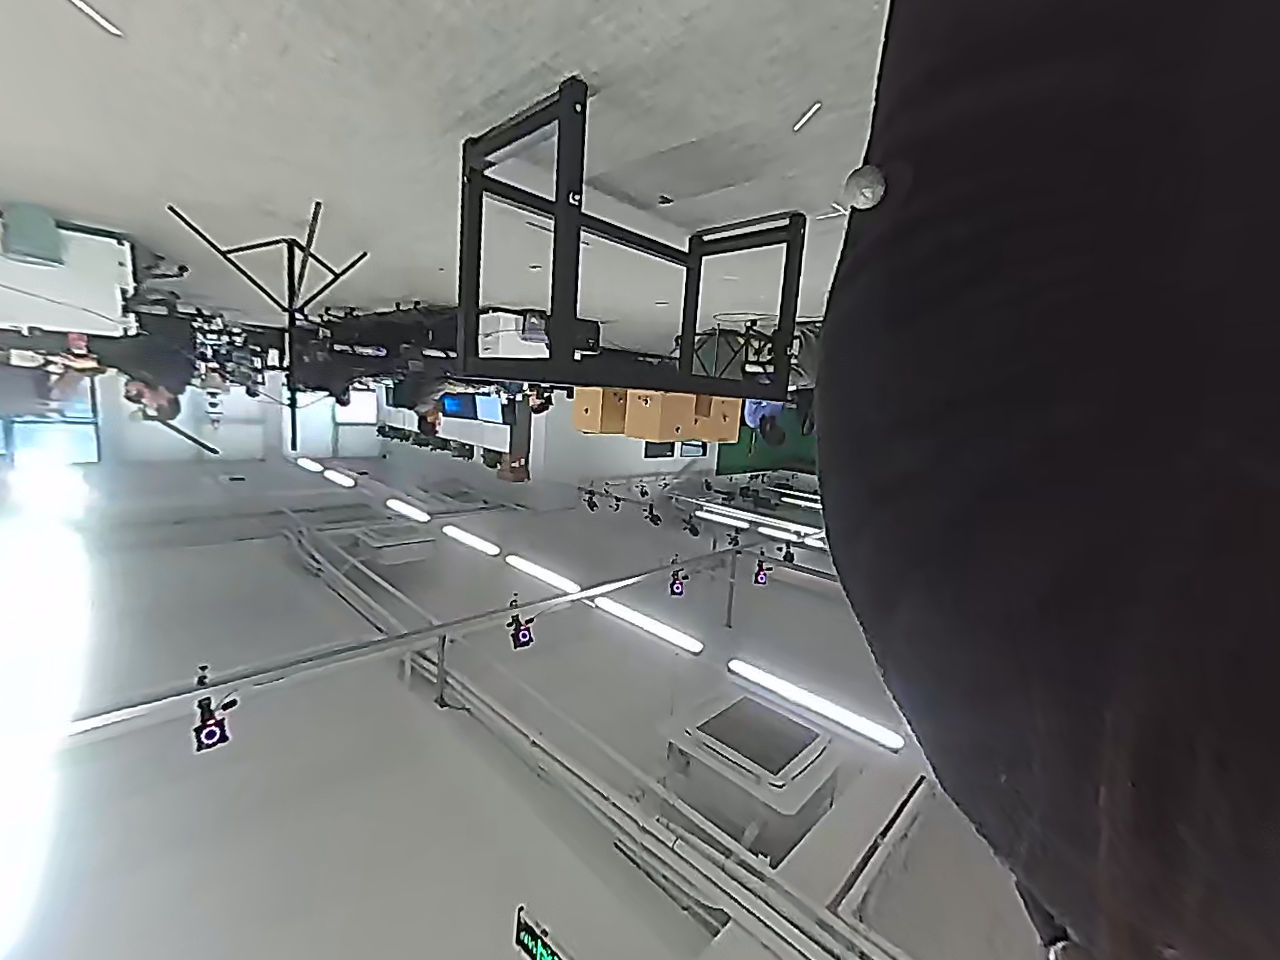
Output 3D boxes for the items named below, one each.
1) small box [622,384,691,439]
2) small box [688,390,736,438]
[{"bbox_3d":[0.060,-0.235,1.849,0.179,0.176,0.168,-4,-169,-45],"label":"small box"},{"bbox_3d":[0.247,-0.249,2.025,0.168,0.176,0.179,-3,-169,-39],"label":"small box"}]
